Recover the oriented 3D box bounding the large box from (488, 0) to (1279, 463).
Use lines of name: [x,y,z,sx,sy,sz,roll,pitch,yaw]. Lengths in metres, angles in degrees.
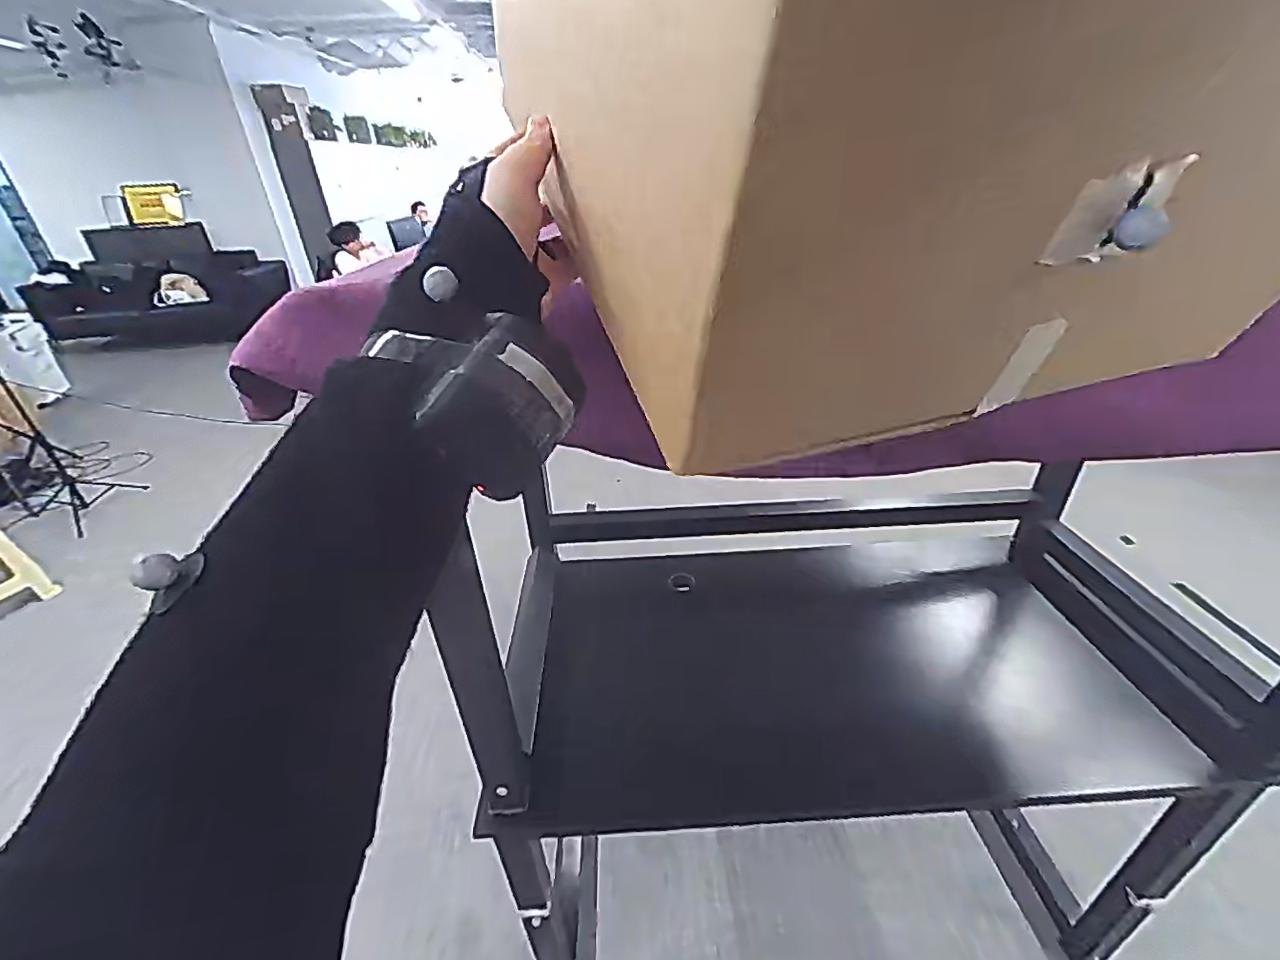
large box: [0.102,-0.274,0.248,0.320,0.320,0.408,-12,52,-15]
